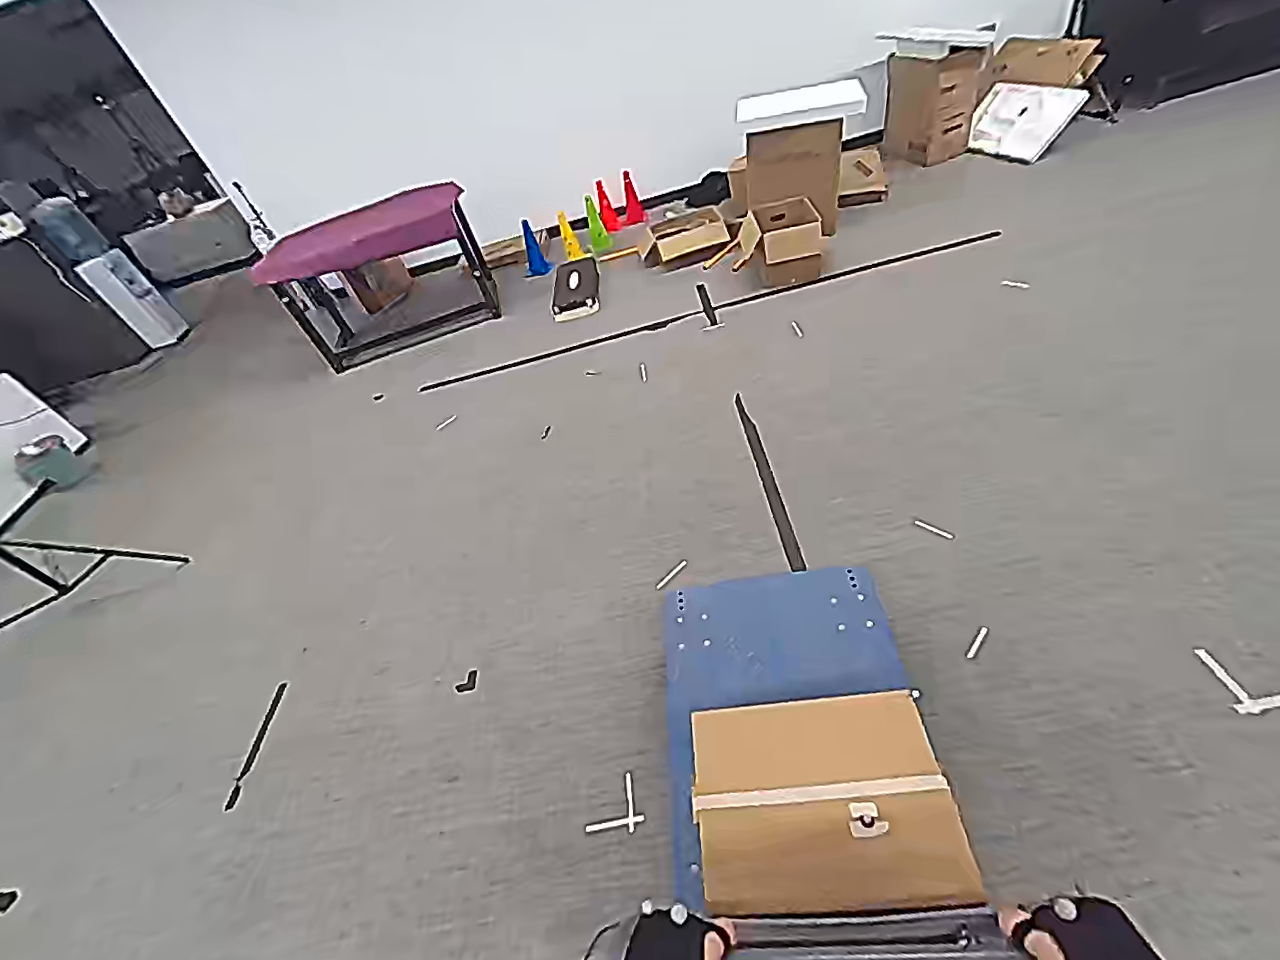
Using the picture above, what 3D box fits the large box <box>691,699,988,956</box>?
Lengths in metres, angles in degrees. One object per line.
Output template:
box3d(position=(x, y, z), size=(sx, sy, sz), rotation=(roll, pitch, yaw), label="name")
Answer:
box3d(position=(0.323, 0.637, 0.985), size=(0.408, 0.320, 0.320), rotation=(-10, 44, 8), label="large box")
